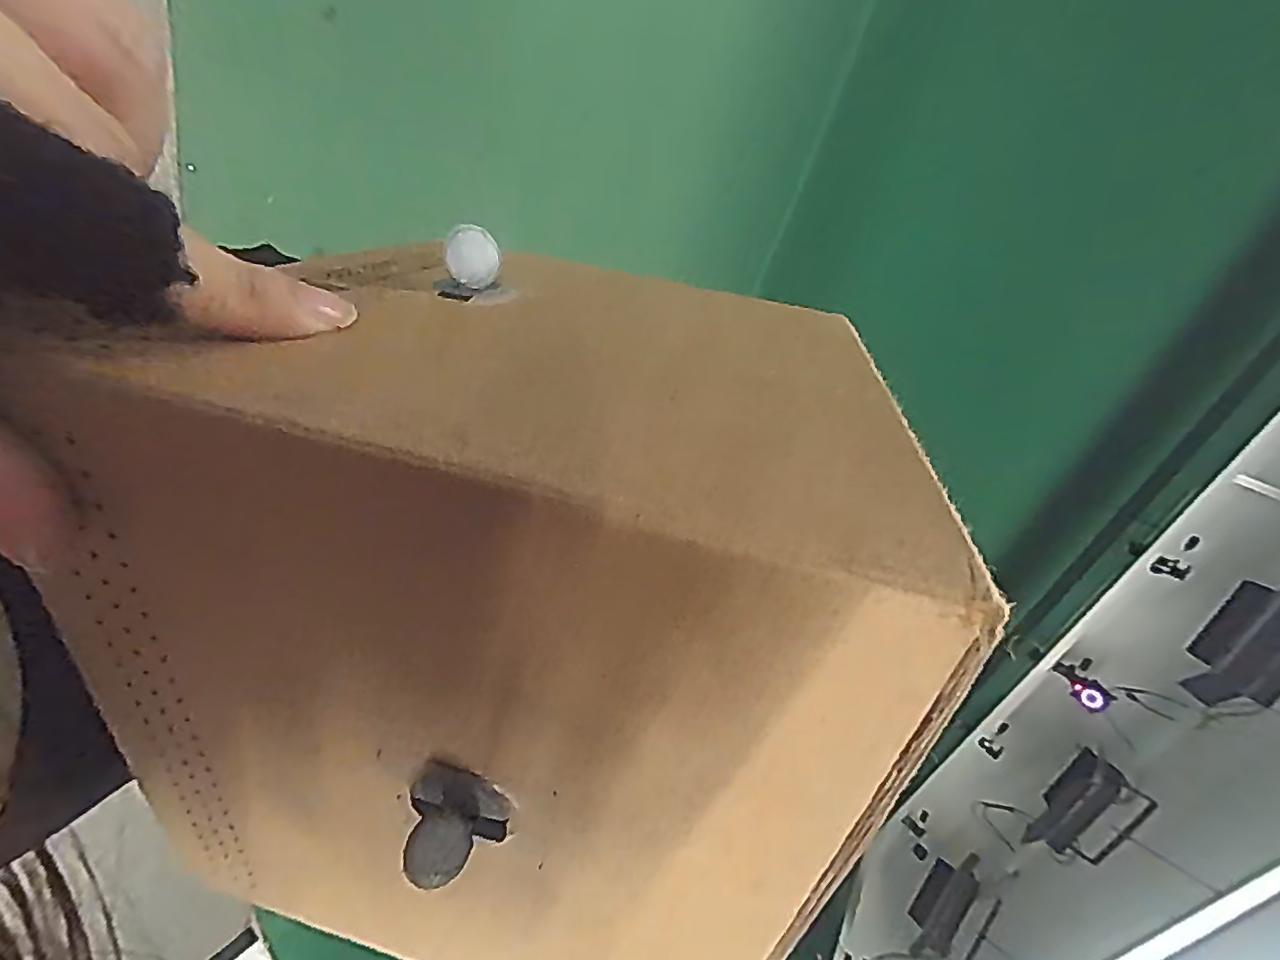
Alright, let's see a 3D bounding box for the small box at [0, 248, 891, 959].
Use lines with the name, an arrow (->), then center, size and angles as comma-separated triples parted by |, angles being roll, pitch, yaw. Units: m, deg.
small box -> -0.041, 0.030, 0.195 | 0.168, 0.176, 0.179 | -67, 169, -60
